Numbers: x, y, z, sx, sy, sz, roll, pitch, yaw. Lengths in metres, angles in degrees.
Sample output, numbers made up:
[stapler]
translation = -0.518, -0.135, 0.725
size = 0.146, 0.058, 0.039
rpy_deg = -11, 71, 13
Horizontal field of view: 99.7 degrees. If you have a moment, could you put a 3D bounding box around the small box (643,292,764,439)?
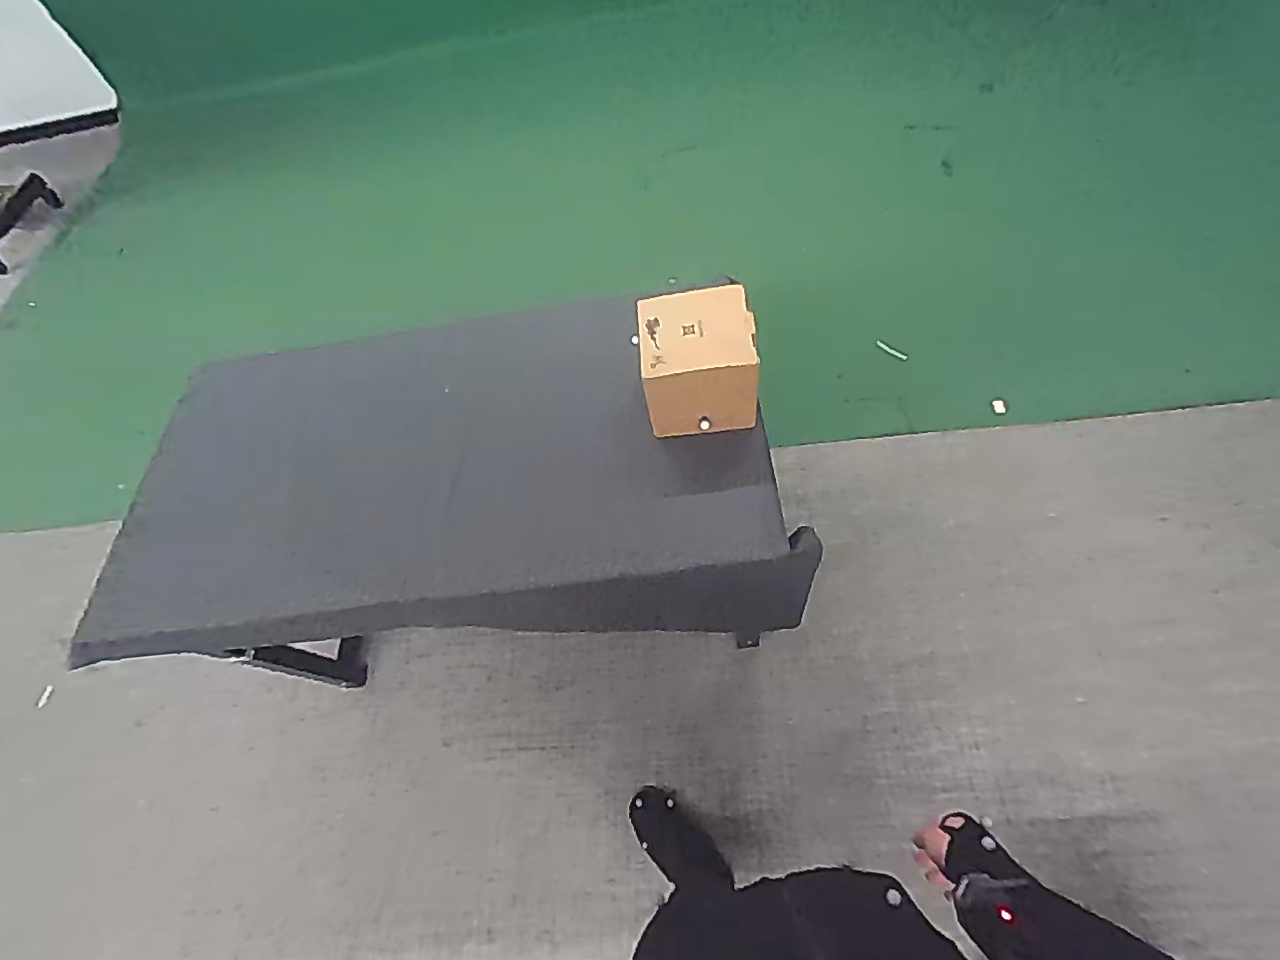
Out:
[small box]
translation = 0.101, -0.185, 0.901
size = 0.179, 0.176, 0.168
rpy_deg = -5, 60, 5
